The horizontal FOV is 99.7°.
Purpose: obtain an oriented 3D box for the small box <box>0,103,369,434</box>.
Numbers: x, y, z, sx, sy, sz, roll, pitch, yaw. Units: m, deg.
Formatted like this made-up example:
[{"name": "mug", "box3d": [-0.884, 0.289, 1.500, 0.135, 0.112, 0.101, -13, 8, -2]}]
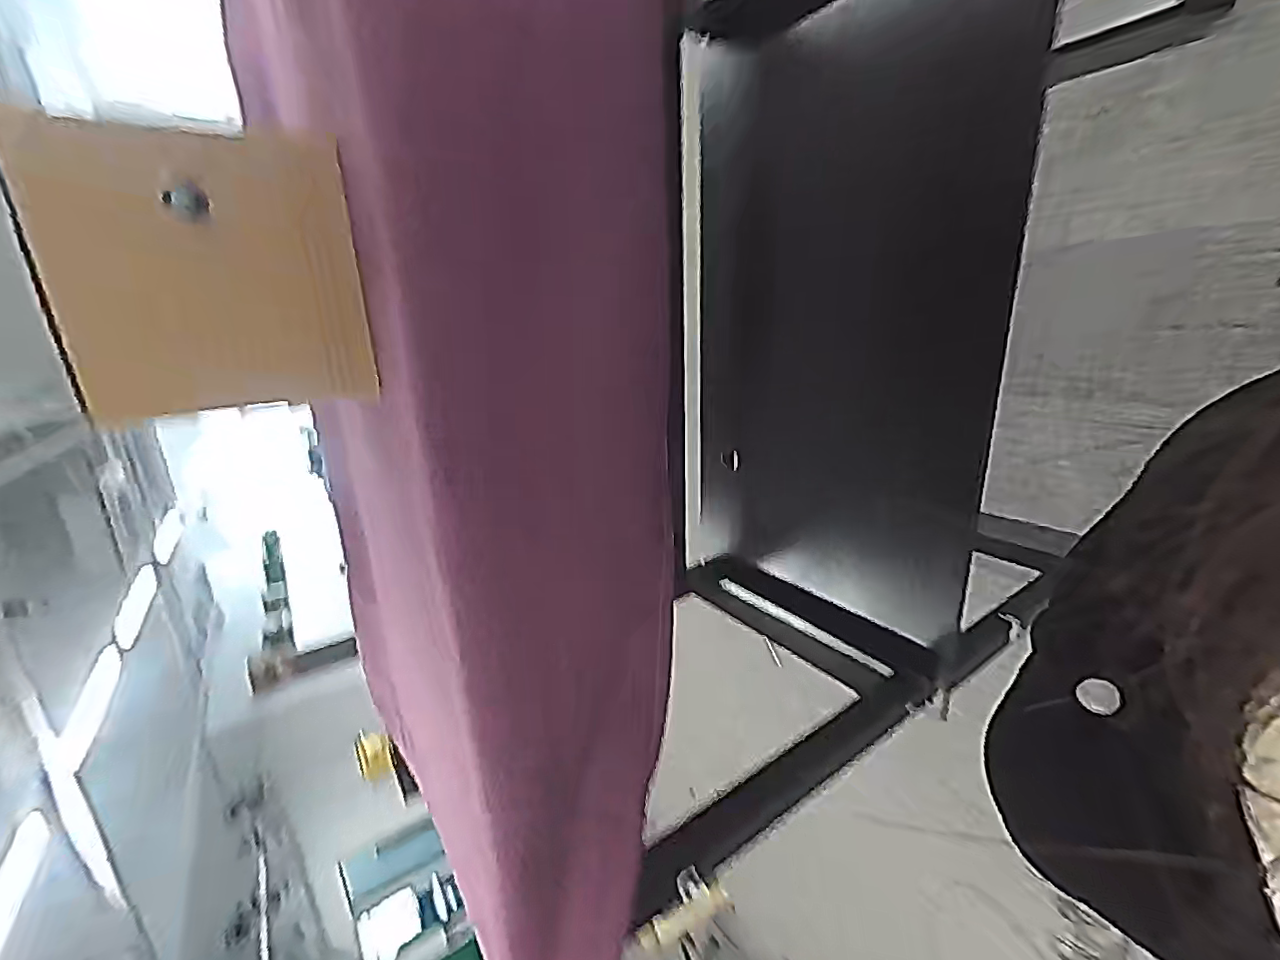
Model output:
[{"name": "small box", "box3d": [-0.318, -0.145, 0.401, 0.168, 0.176, 0.179, 24, 122, 52]}]
